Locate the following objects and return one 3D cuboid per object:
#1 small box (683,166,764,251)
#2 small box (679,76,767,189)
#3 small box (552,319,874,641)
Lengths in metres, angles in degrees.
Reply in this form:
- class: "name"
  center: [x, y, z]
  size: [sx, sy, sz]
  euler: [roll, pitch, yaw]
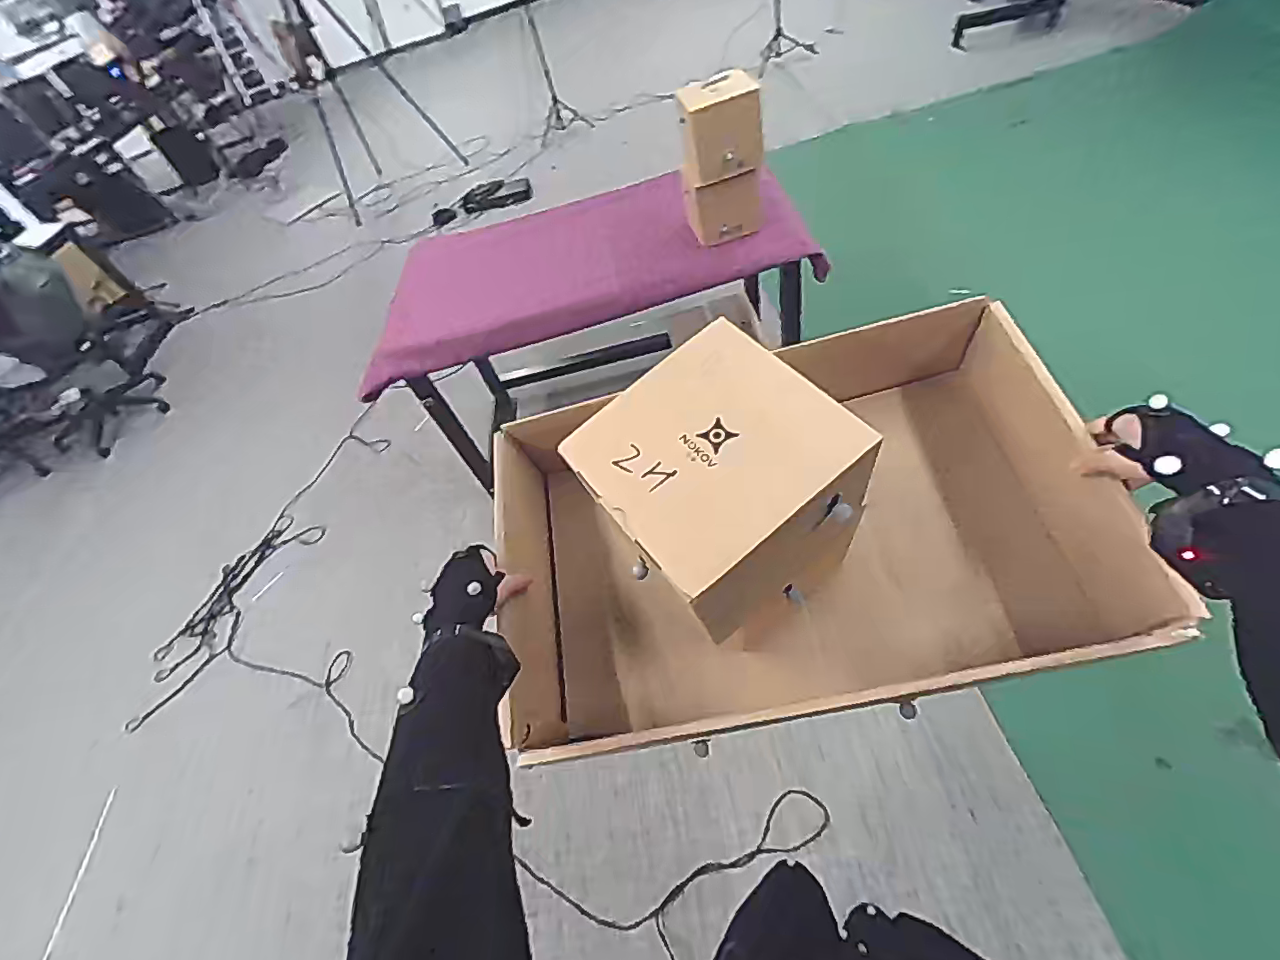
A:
- class: "small box"
  center: [0.224, -0.743, 1.445]
  size: [0.168, 0.176, 0.179]
  euler: [-17, 48, 5]
- class: "small box"
  center: [0.202, -0.841, 1.313]
  size: [0.168, 0.176, 0.179]
  euler: [-17, 48, 5]
- class: "small box"
  center: [0.061, 0.008, 0.459]
  size: [0.179, 0.176, 0.168]
  euler: [-39, 61, -7]
